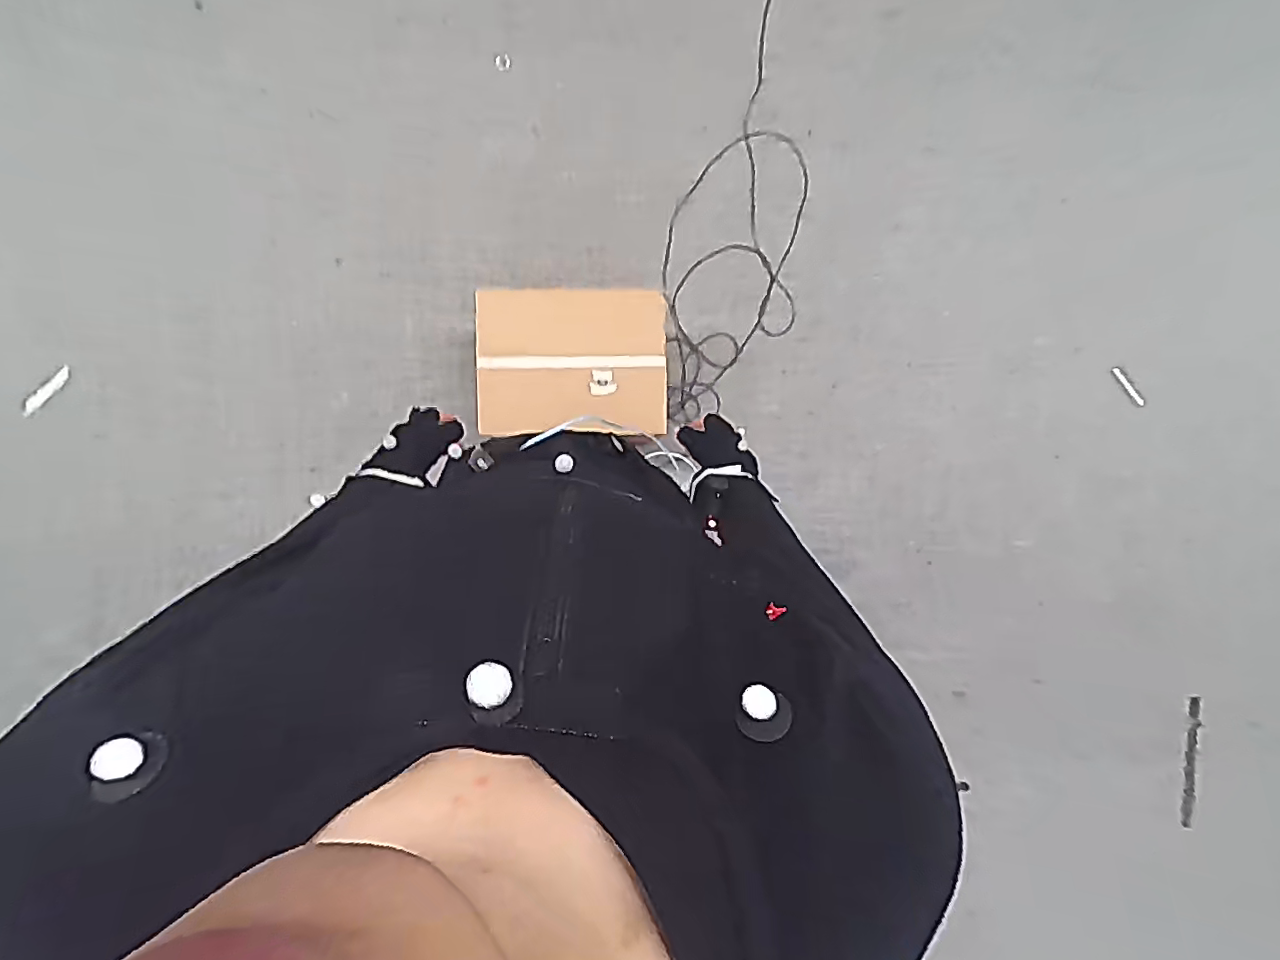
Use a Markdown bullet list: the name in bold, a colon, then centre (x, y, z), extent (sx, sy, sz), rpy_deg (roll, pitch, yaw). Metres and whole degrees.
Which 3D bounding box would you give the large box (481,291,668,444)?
- **large box**: centre (-0.151, -0.255, 1.320), extent (0.408, 0.320, 0.320), rpy_deg (-1, 92, -4)
